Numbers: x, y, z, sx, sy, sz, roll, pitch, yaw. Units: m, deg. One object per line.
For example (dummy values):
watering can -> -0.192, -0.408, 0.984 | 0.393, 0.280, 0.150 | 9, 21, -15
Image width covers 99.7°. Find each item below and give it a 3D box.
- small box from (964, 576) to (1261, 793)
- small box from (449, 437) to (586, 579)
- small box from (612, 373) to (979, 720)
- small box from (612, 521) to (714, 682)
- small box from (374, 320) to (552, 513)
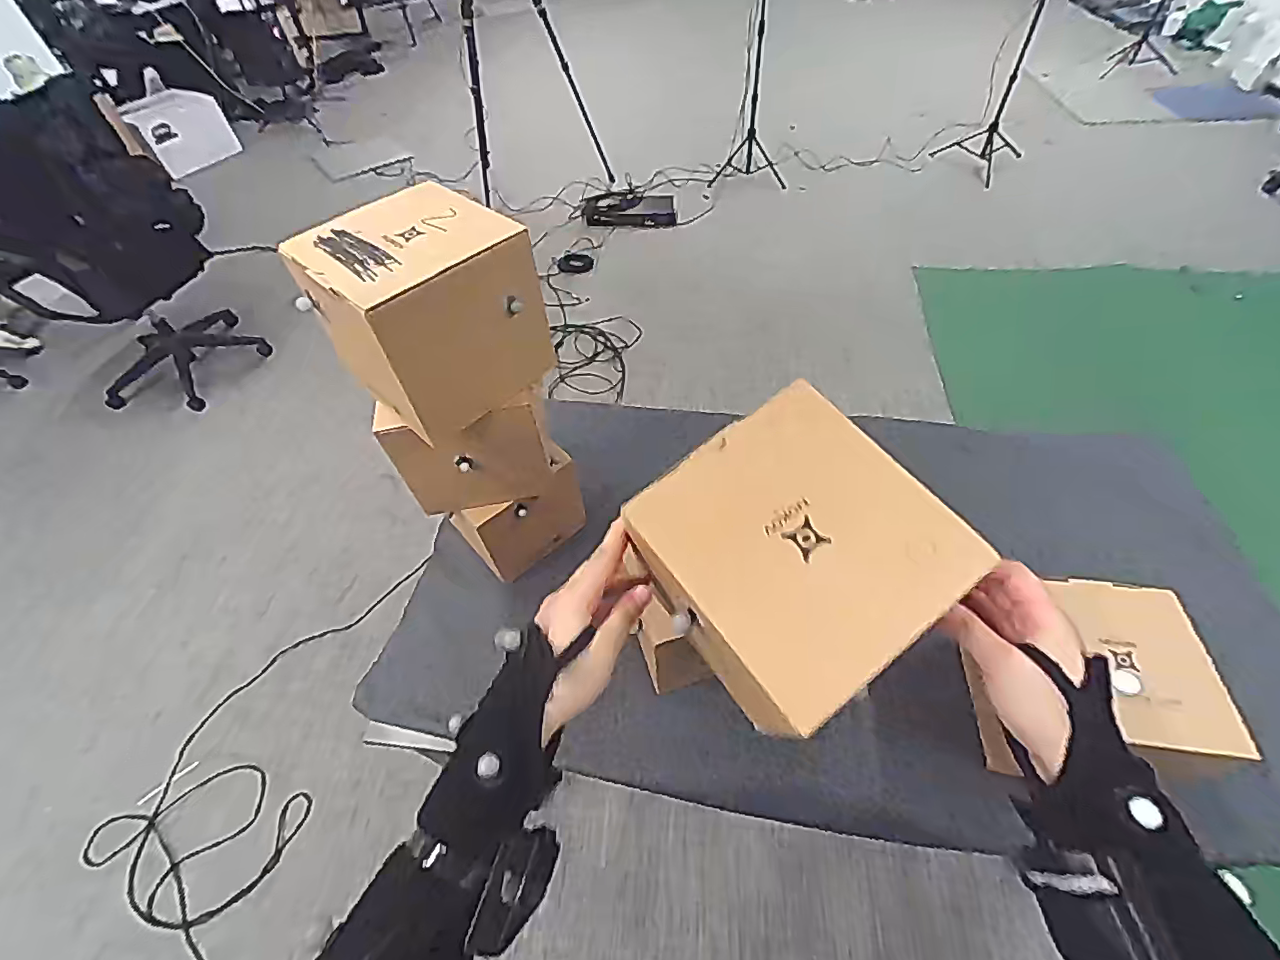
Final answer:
small box -> 0.496, 0.231, 0.610 | 0.168, 0.176, 0.179 | 3, 52, 9
small box -> -0.205, 0.019, 0.838 | 0.168, 0.176, 0.179 | -37, 58, -22
small box -> 0.103, 0.059, 0.421 | 0.168, 0.176, 0.179 | -36, 66, -11
small box -> 0.071, 0.146, 0.713 | 0.168, 0.176, 0.179 | -16, 52, -9
small box -> -0.216, -0.078, 0.706 | 0.179, 0.176, 0.168 | -12, 53, -4
